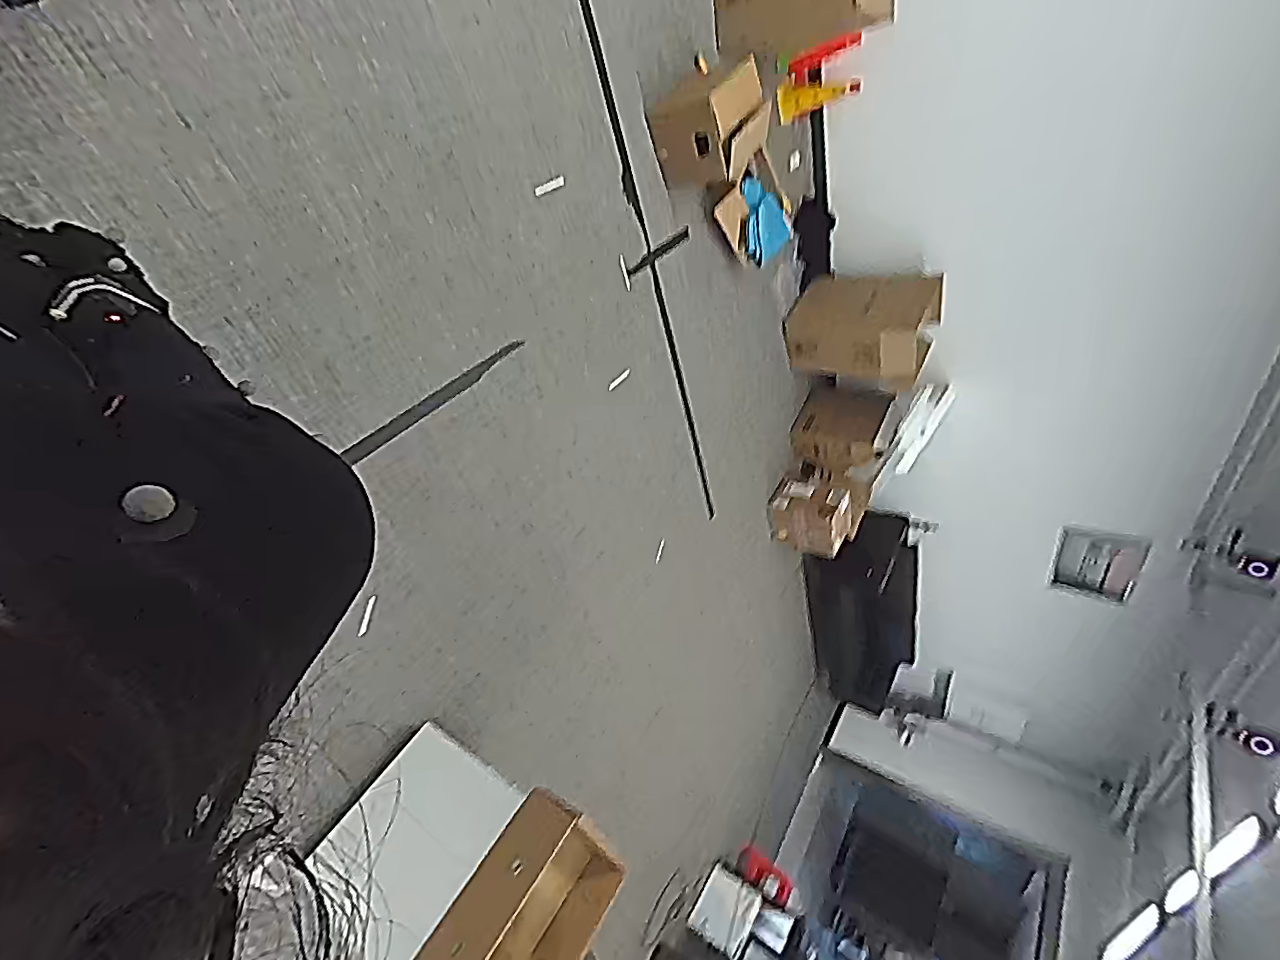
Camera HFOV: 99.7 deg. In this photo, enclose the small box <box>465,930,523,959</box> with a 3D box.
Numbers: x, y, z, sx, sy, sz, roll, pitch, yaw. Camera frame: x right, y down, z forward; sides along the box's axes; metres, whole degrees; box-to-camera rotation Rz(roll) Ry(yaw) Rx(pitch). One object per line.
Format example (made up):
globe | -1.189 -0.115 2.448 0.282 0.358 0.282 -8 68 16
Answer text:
small box | -0.369 1.305 1.367 0.179 0.176 0.168 -50 132 -35
